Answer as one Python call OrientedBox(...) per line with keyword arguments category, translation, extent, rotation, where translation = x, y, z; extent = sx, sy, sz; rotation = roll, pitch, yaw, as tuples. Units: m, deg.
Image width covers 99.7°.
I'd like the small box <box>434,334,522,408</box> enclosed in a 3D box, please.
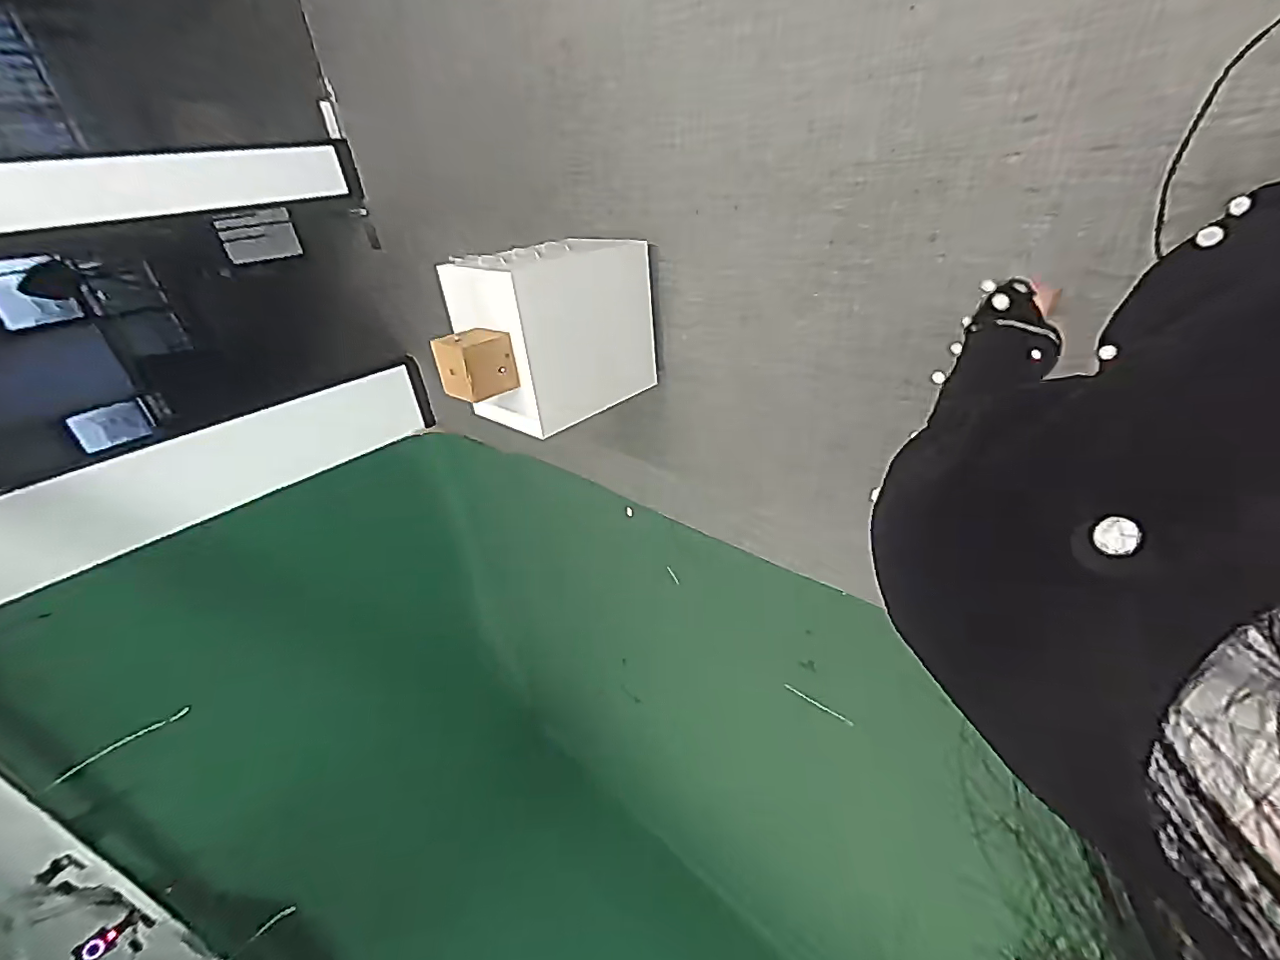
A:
OrientedBox(category="small box", translation=(-0.480, -0.333, 1.618), extent=(0.179, 0.176, 0.168), rotation=(20, 129, 39))
